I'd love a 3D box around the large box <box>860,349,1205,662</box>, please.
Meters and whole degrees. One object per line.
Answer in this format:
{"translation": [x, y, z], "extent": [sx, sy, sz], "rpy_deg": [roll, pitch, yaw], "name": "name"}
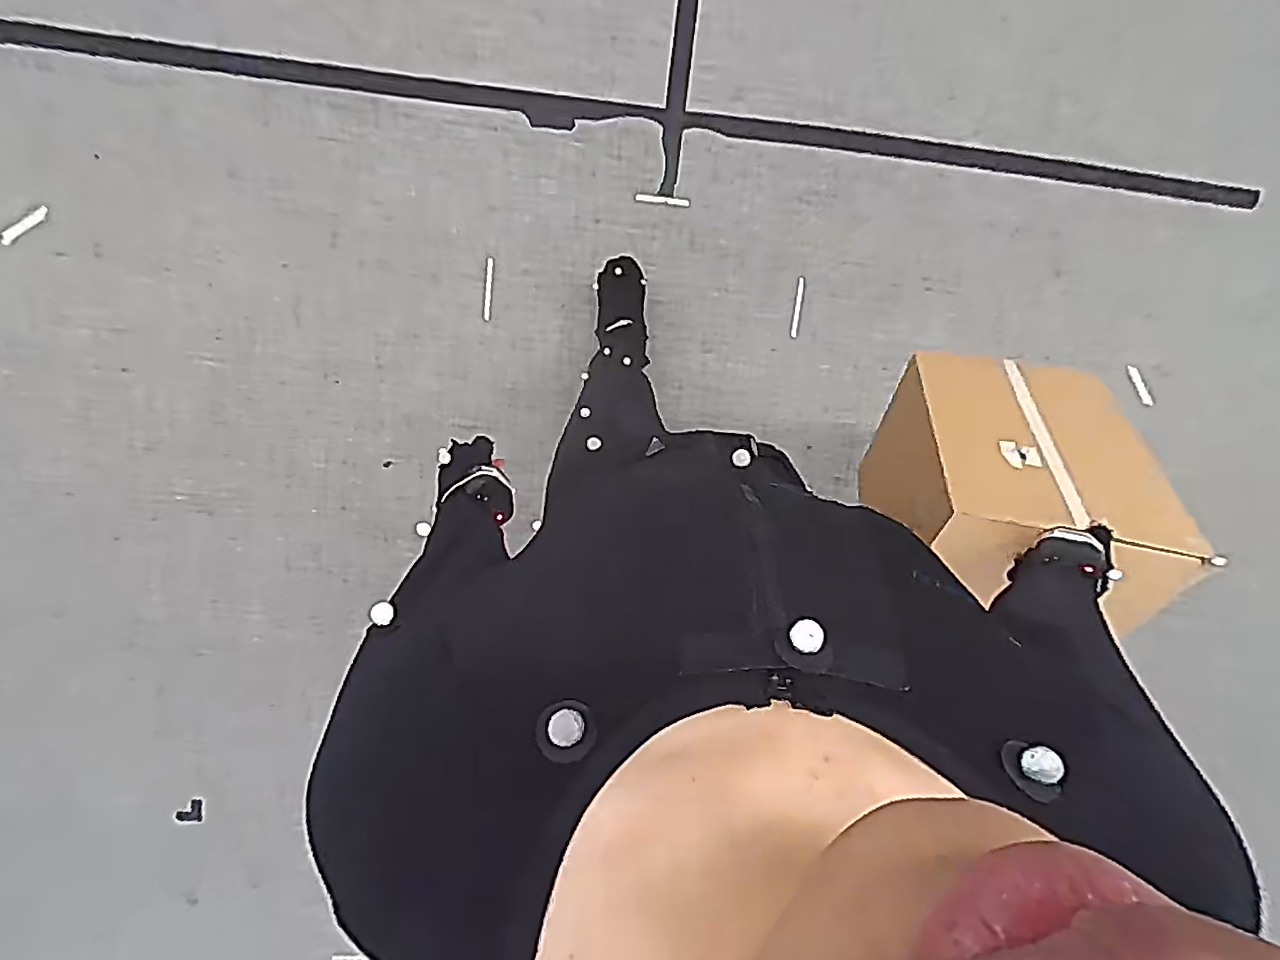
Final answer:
{"translation": [0.596, 0.035, 0.934], "extent": [0.320, 0.408, 0.320], "rpy_deg": [11, 138, 7], "name": "large box"}
